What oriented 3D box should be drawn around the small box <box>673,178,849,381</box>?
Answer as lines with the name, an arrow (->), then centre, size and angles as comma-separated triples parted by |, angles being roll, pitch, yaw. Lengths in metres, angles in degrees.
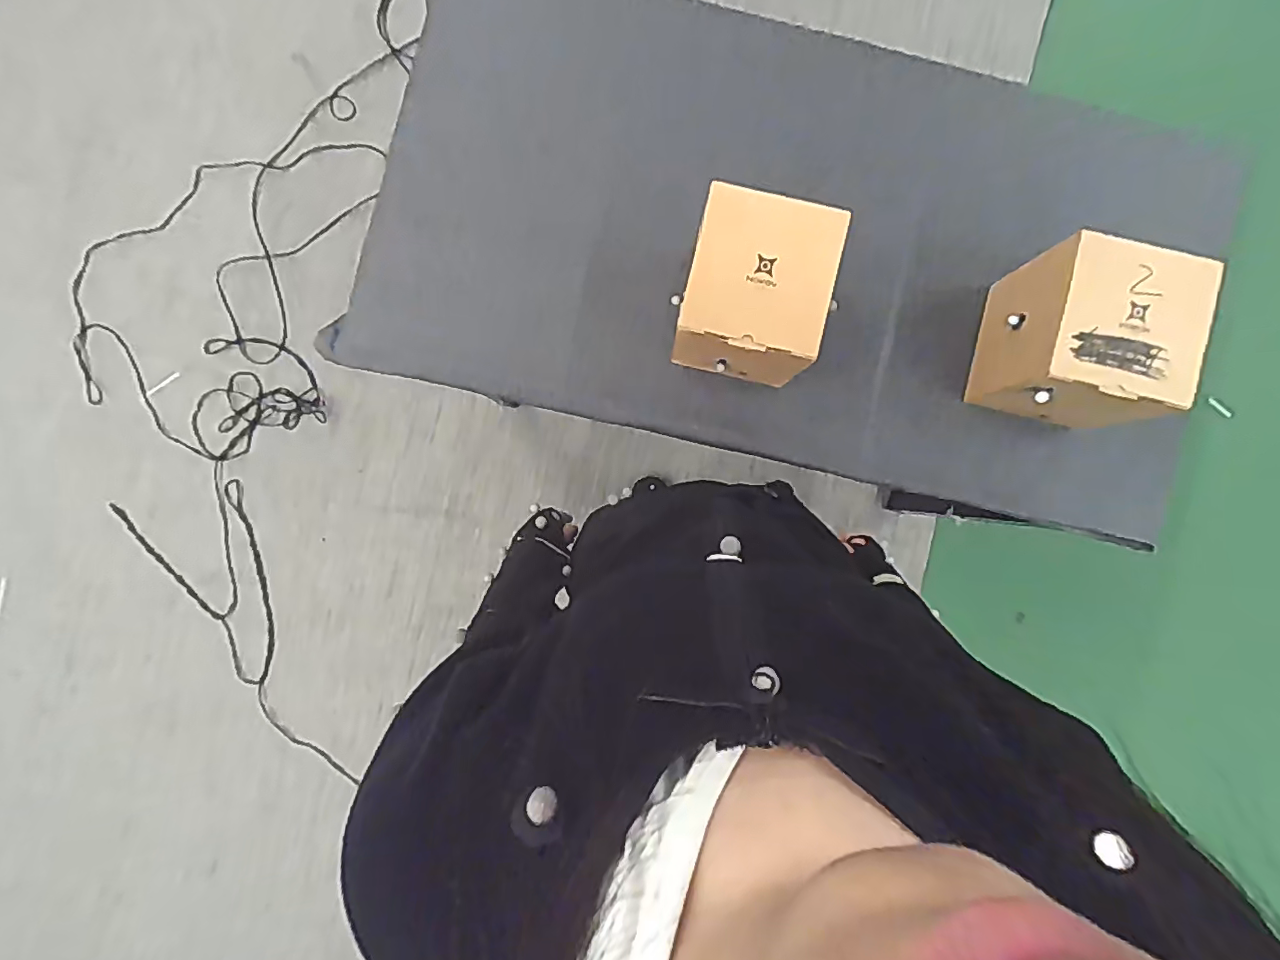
small box -> 0.141, -0.241, 0.694 | 0.168, 0.176, 0.179 | 13, 90, 0
